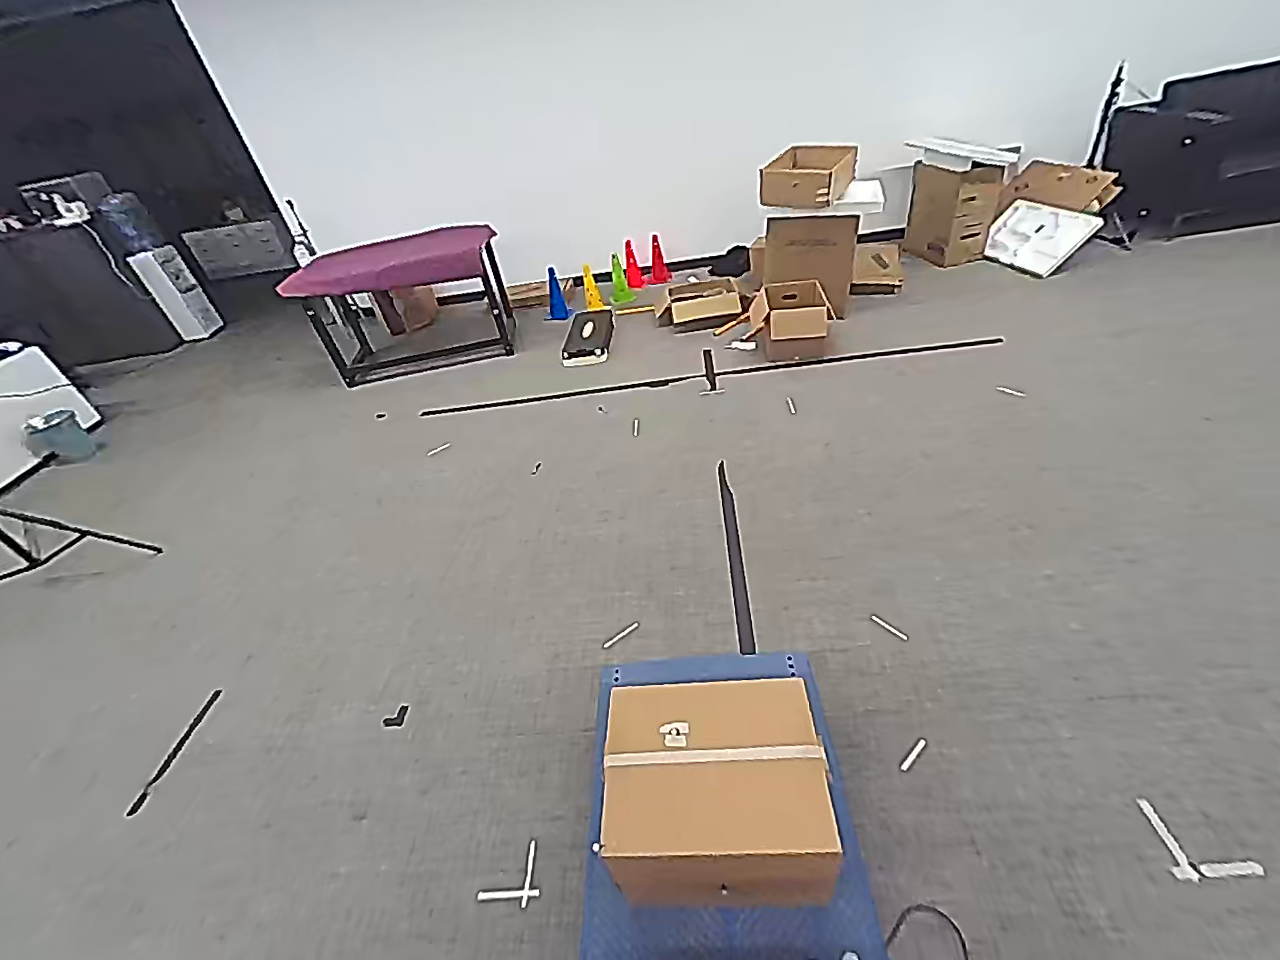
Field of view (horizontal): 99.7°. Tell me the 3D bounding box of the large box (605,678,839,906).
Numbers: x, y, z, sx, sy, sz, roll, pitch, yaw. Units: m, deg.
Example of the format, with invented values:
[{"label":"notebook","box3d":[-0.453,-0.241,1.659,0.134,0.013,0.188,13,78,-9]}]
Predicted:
[{"label":"large box","box3d":[0.161,0.648,1.120,0.408,0.320,0.320,-7,37,7]}]
